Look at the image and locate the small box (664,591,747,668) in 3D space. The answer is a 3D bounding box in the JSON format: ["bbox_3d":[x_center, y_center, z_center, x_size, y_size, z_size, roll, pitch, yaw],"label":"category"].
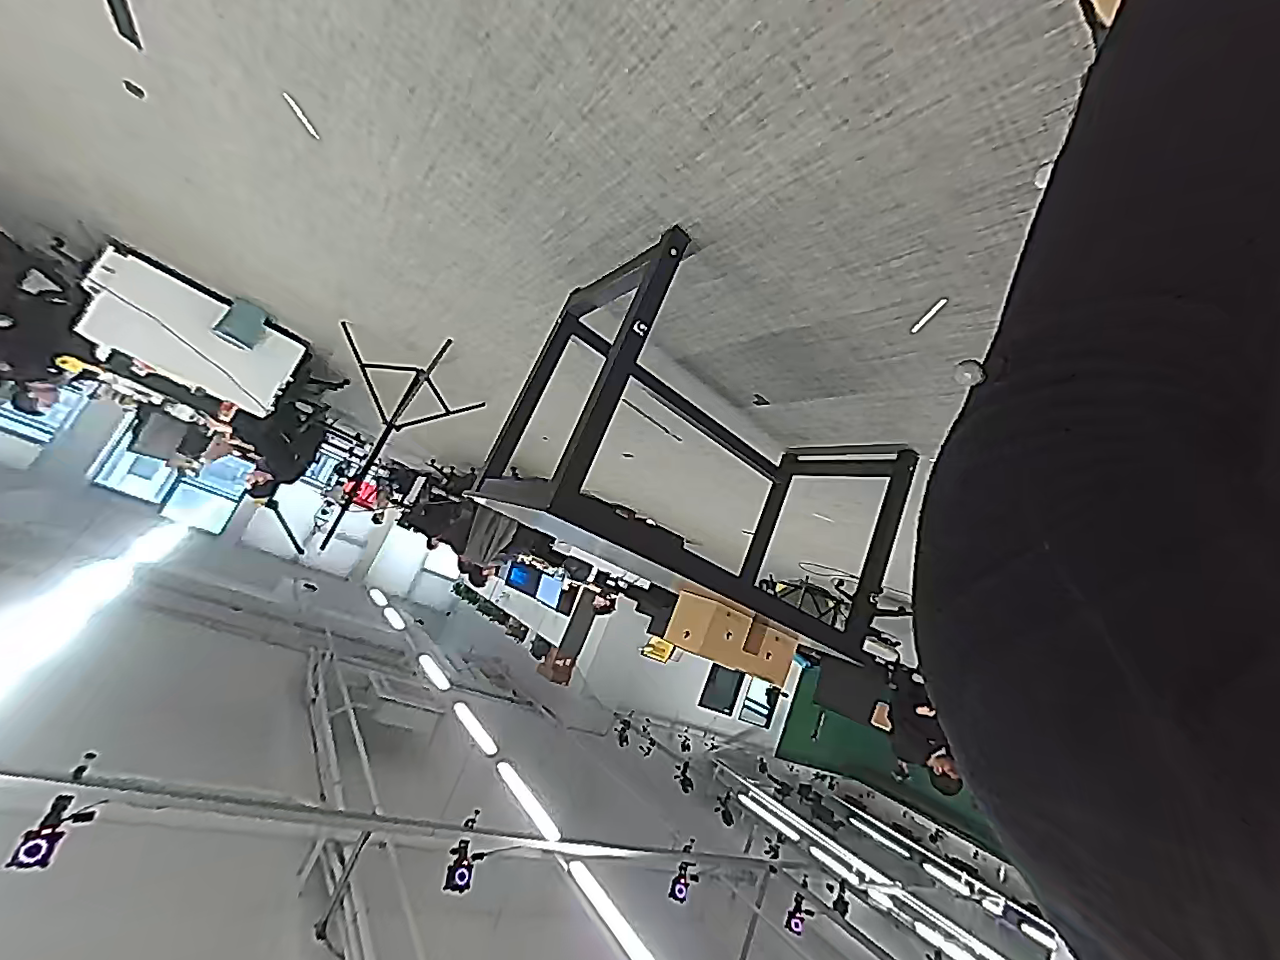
[{"bbox_3d":[0.210,0.457,1.672,0.168,0.176,0.179,31,165,-31],"label":"small box"}]

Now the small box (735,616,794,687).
[{"bbox_3d":[0.388,0.559,1.795,0.168,0.176,0.179,31,166,-30],"label":"small box"}]
